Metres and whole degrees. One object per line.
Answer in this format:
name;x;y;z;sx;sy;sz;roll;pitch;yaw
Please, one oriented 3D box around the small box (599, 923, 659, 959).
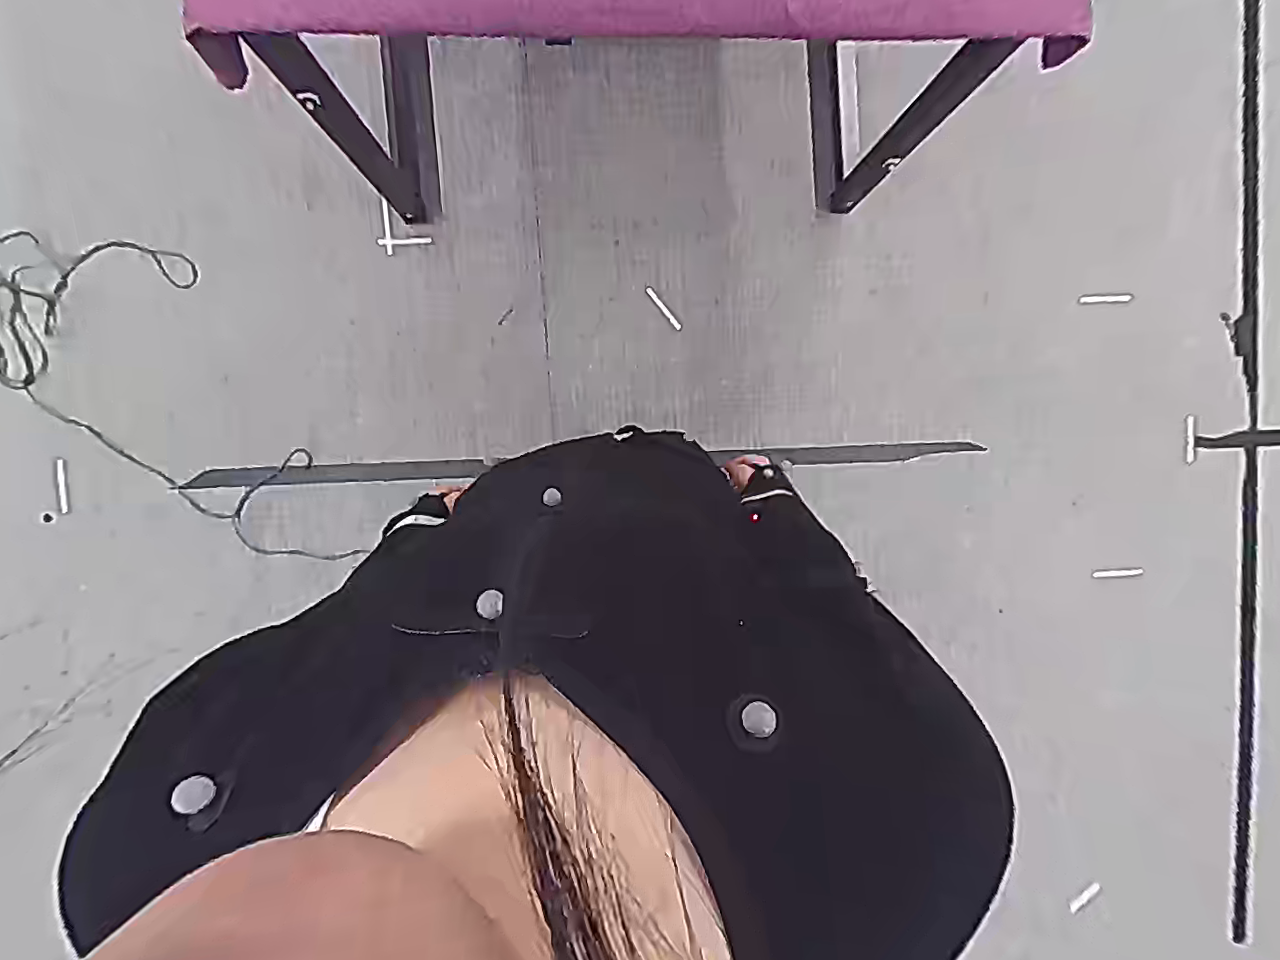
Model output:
small box;-0.024;1.374;1.493;0.168;0.176;0.179;-7;94;-3
